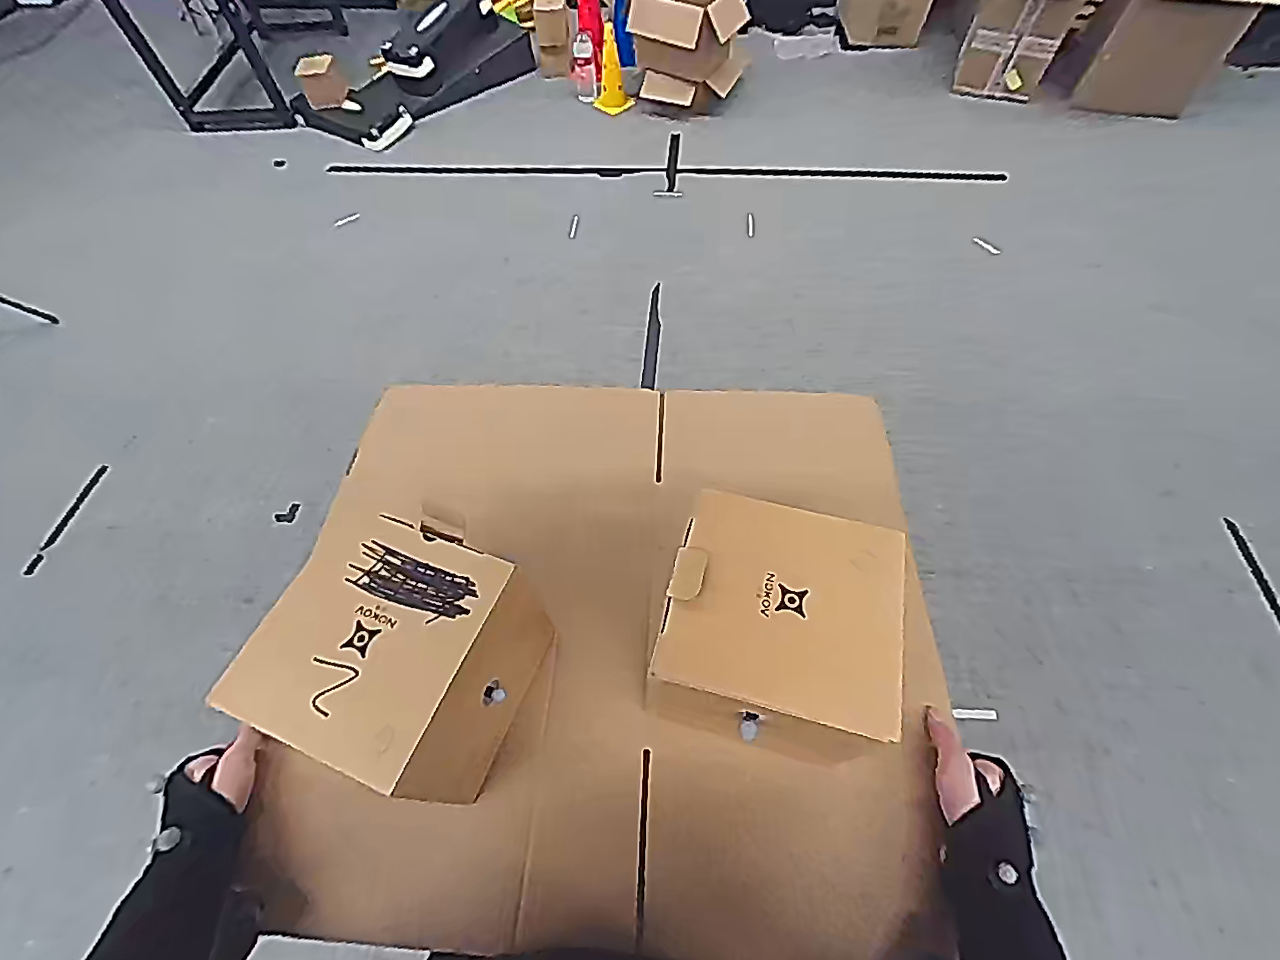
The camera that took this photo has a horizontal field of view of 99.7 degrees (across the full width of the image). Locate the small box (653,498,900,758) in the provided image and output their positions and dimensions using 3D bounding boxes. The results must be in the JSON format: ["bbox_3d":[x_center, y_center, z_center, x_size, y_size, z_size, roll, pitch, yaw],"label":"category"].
[{"bbox_3d":[0.118,0.142,0.496,0.179,0.176,0.168,11,58,11],"label":"small box"}]
